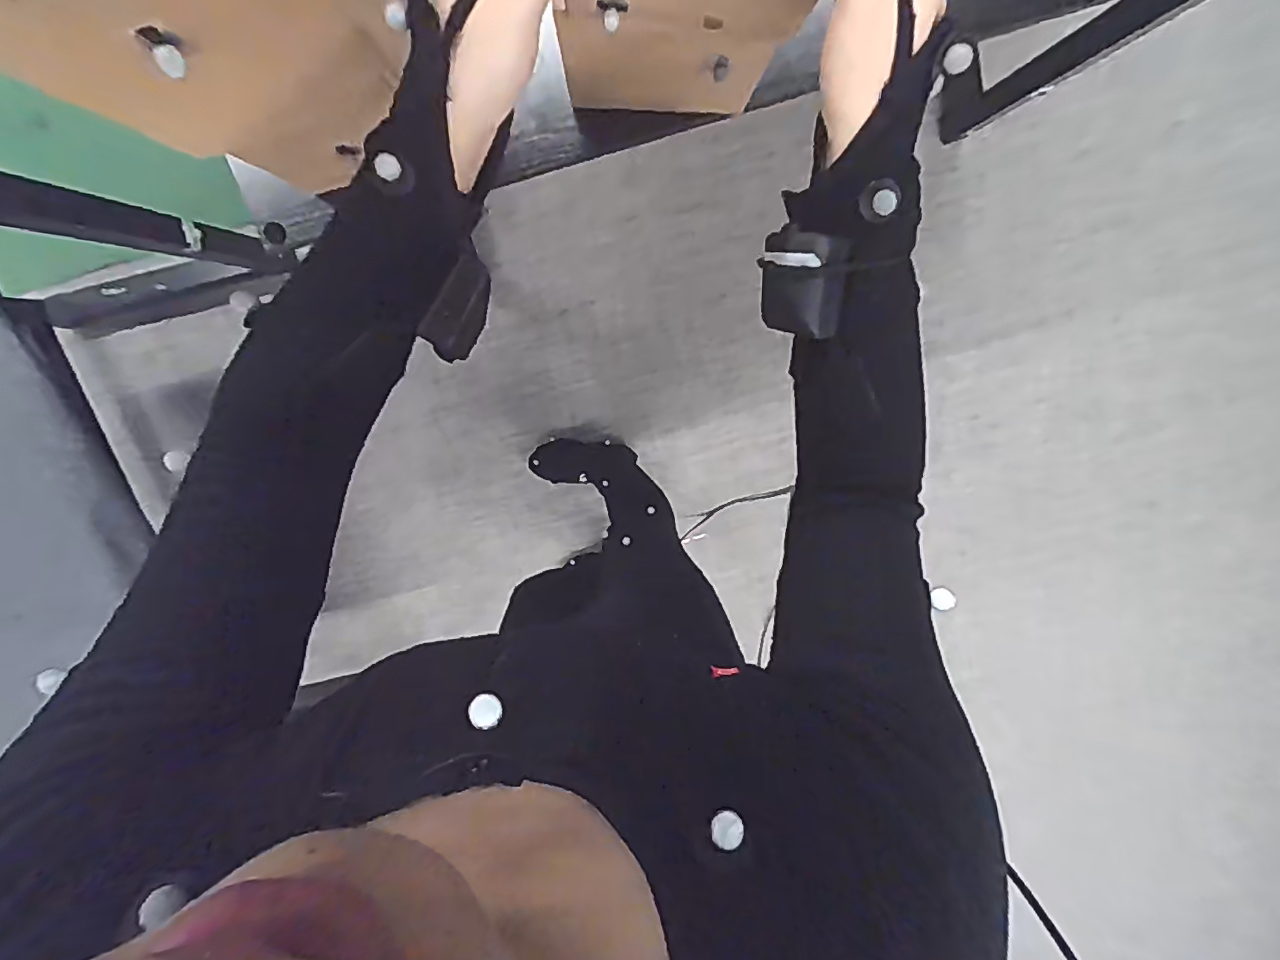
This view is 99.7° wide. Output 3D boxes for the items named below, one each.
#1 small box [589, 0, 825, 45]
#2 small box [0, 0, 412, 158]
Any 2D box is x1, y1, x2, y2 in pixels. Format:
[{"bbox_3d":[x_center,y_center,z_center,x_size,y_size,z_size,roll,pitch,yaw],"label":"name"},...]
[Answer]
[{"bbox_3d":[0.046,-0.379,0.295,0.168,0.176,0.179,3,106,-3],"label":"small box"},{"bbox_3d":[-0.253,-0.313,0.304,0.179,0.176,0.168,-15,105,2],"label":"small box"}]
